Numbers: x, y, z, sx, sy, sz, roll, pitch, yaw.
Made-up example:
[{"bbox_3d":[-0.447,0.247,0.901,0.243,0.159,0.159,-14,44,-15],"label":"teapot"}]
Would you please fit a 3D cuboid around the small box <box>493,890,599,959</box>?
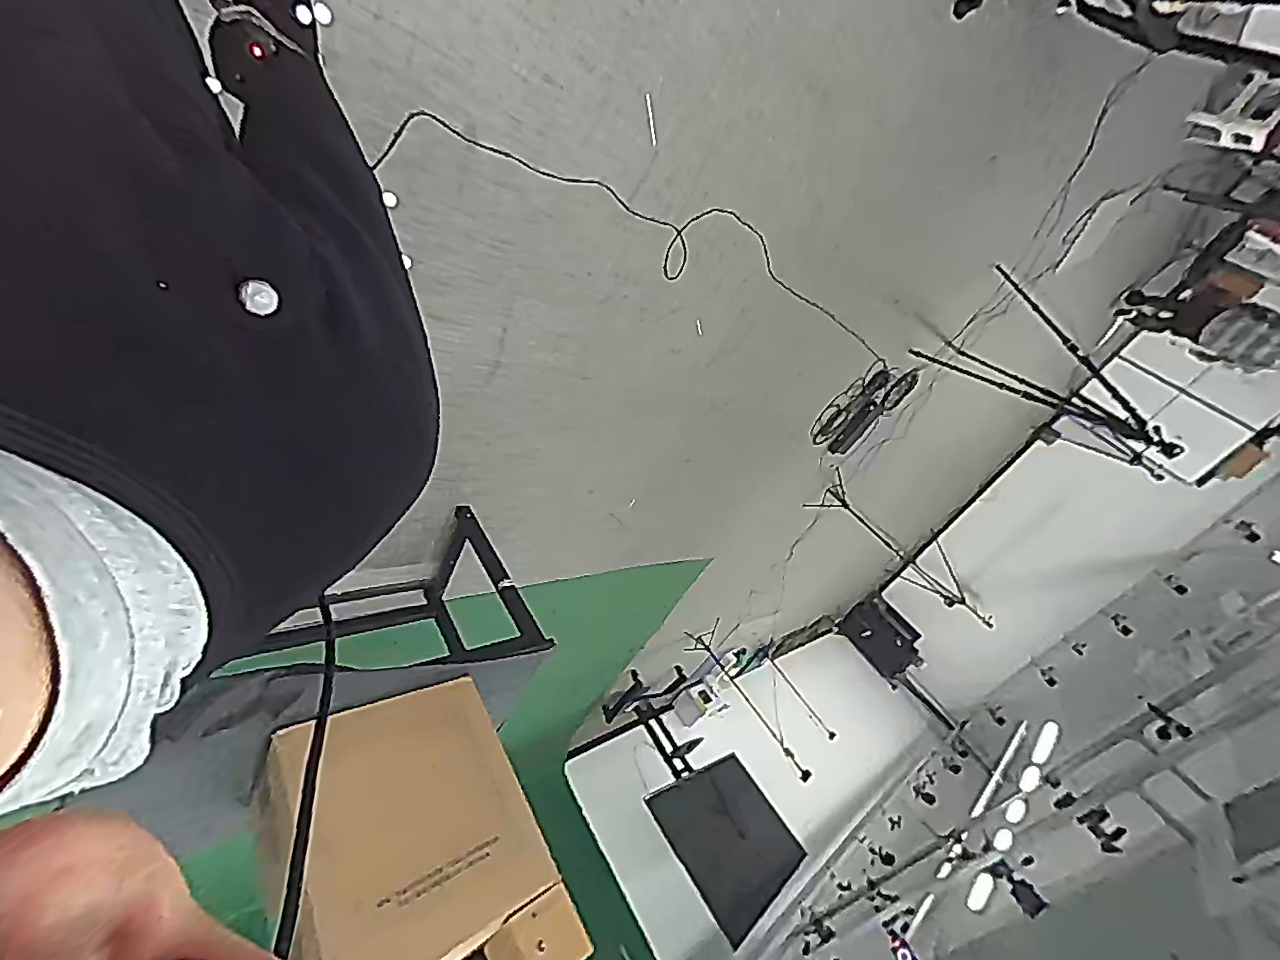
[{"bbox_3d":[-0.239,1.160,1.332,0.168,0.176,0.179,1,131,-46],"label":"small box"}]
